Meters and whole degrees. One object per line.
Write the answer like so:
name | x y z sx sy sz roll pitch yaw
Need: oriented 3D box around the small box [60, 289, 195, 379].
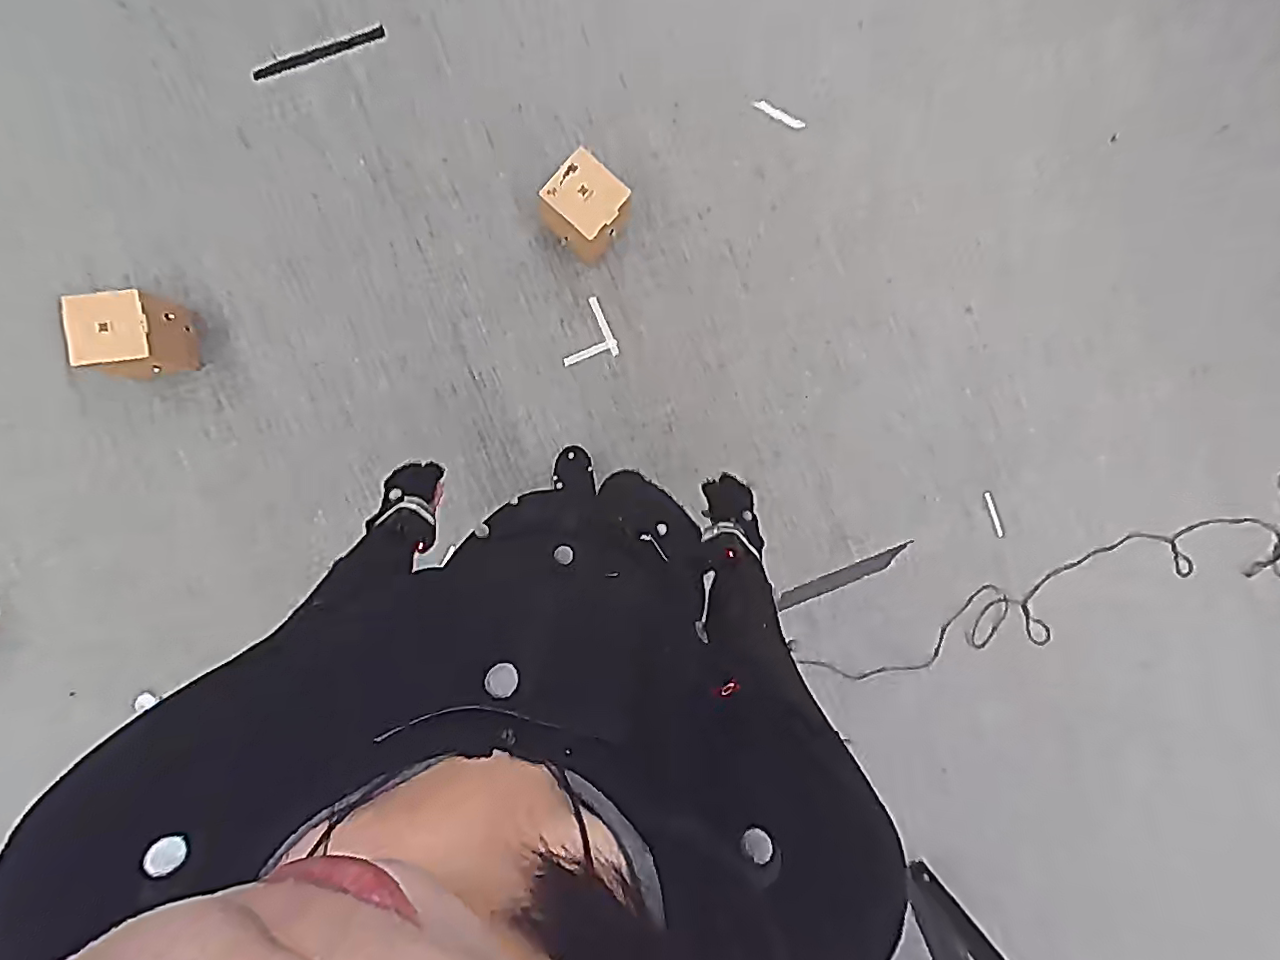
small box | -1.241 -0.353 1.327 0.179 0.176 0.168 -9 90 -4

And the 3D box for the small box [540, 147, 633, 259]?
small box | -0.139 -0.709 1.416 0.179 0.176 0.168 41 88 -5
